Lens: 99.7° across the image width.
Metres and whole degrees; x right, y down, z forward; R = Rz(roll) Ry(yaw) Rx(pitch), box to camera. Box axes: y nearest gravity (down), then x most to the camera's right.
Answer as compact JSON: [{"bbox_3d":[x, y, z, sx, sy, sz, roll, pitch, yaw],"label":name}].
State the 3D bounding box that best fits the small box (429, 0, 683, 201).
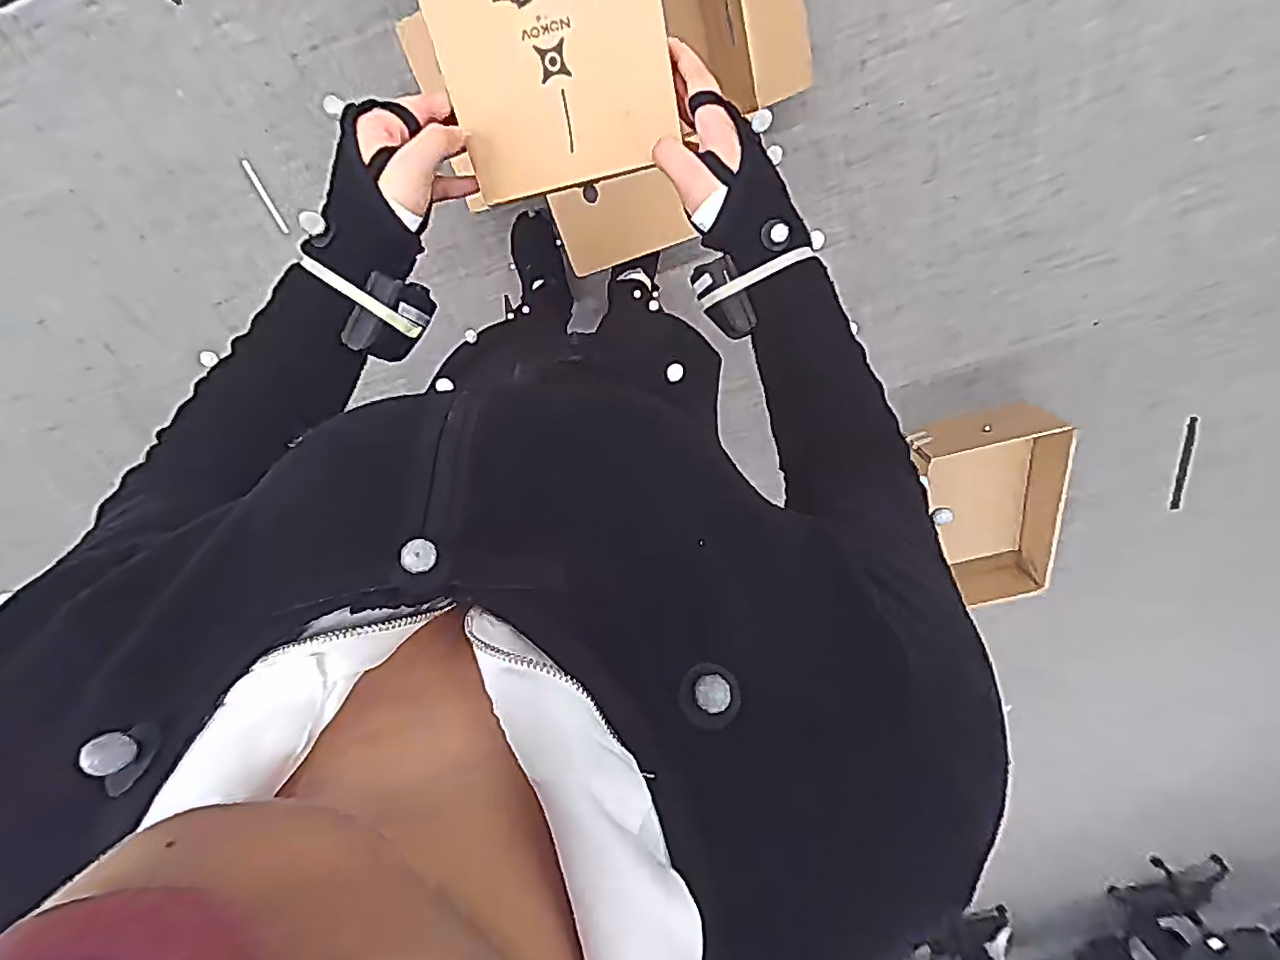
[{"bbox_3d":[-0.063,-0.354,0.467,0.168,0.176,0.179,-11,119,6],"label":"small box"}]
